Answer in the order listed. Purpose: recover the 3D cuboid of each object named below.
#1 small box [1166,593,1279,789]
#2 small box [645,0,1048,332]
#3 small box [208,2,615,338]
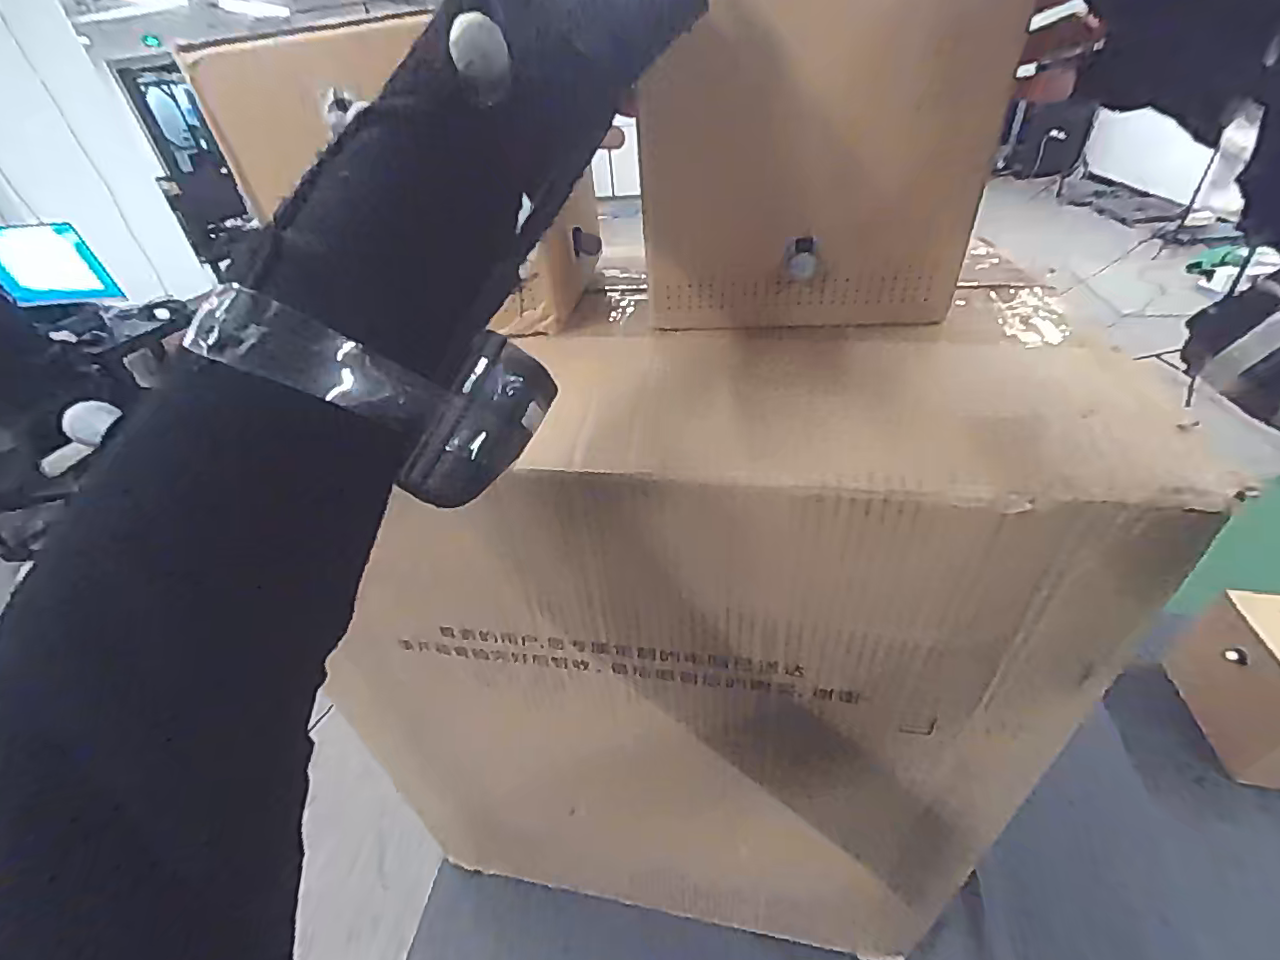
[{"bbox_3d":[0.836,0.272,0.685,0.168,0.176,0.179,4,38,13],"label":"small box"},{"bbox_3d":[0.104,-0.205,0.344,0.179,0.176,0.168,0,38,8],"label":"small box"},{"bbox_3d":[-0.122,-0.208,0.375,0.179,0.176,0.168,1,41,8],"label":"small box"}]
